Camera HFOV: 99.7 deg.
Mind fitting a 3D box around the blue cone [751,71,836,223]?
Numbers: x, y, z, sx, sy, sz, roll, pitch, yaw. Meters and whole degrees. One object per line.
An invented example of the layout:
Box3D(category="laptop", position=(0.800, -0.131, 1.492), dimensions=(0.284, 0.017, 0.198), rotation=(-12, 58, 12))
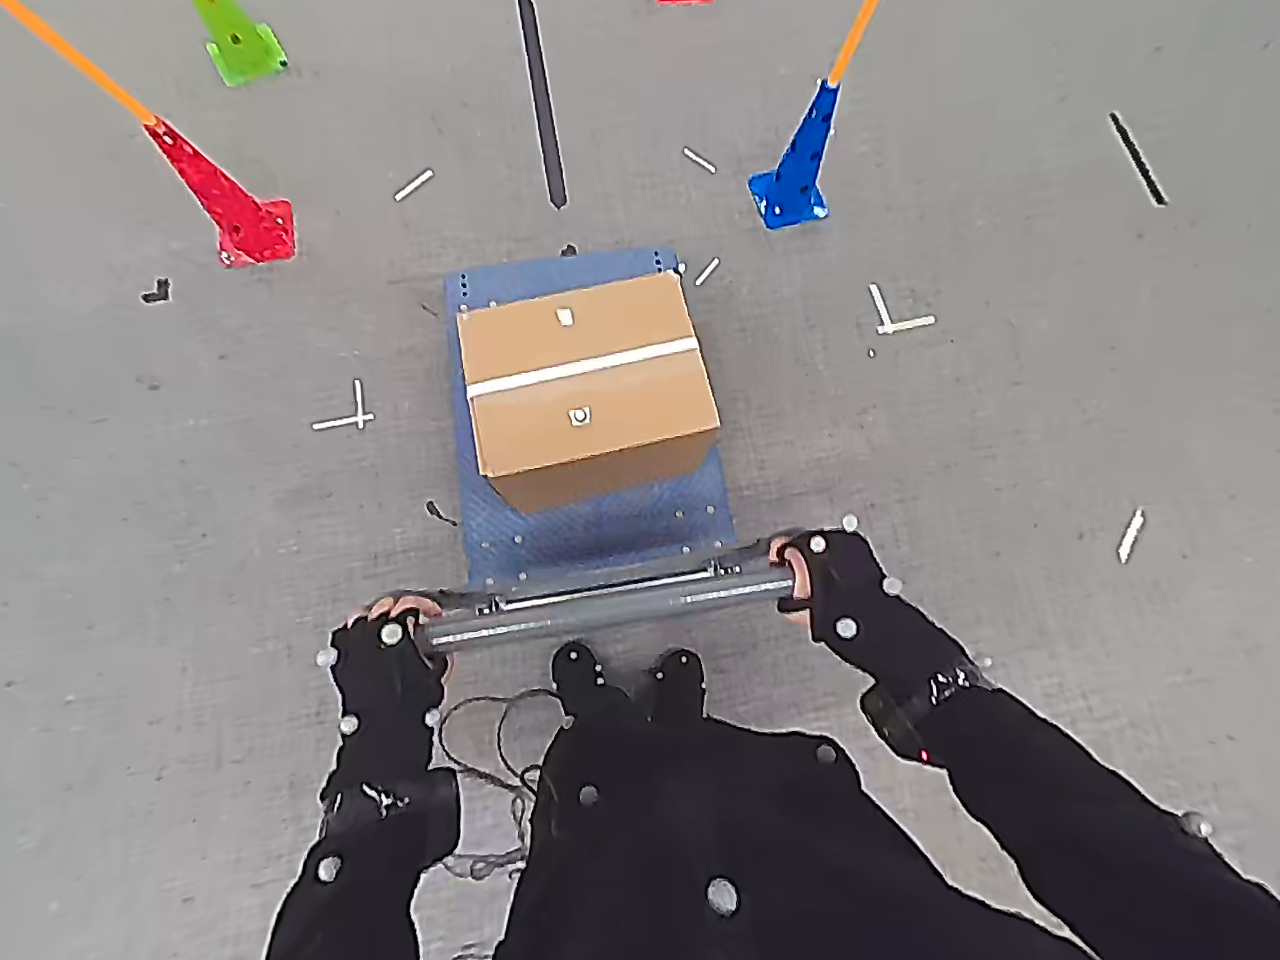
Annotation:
Box3D(category="blue cone", position=(0.452, -0.906, 1.471), dimensions=(0.193, 0.380, 0.192), rotation=(-14, 75, -6))
